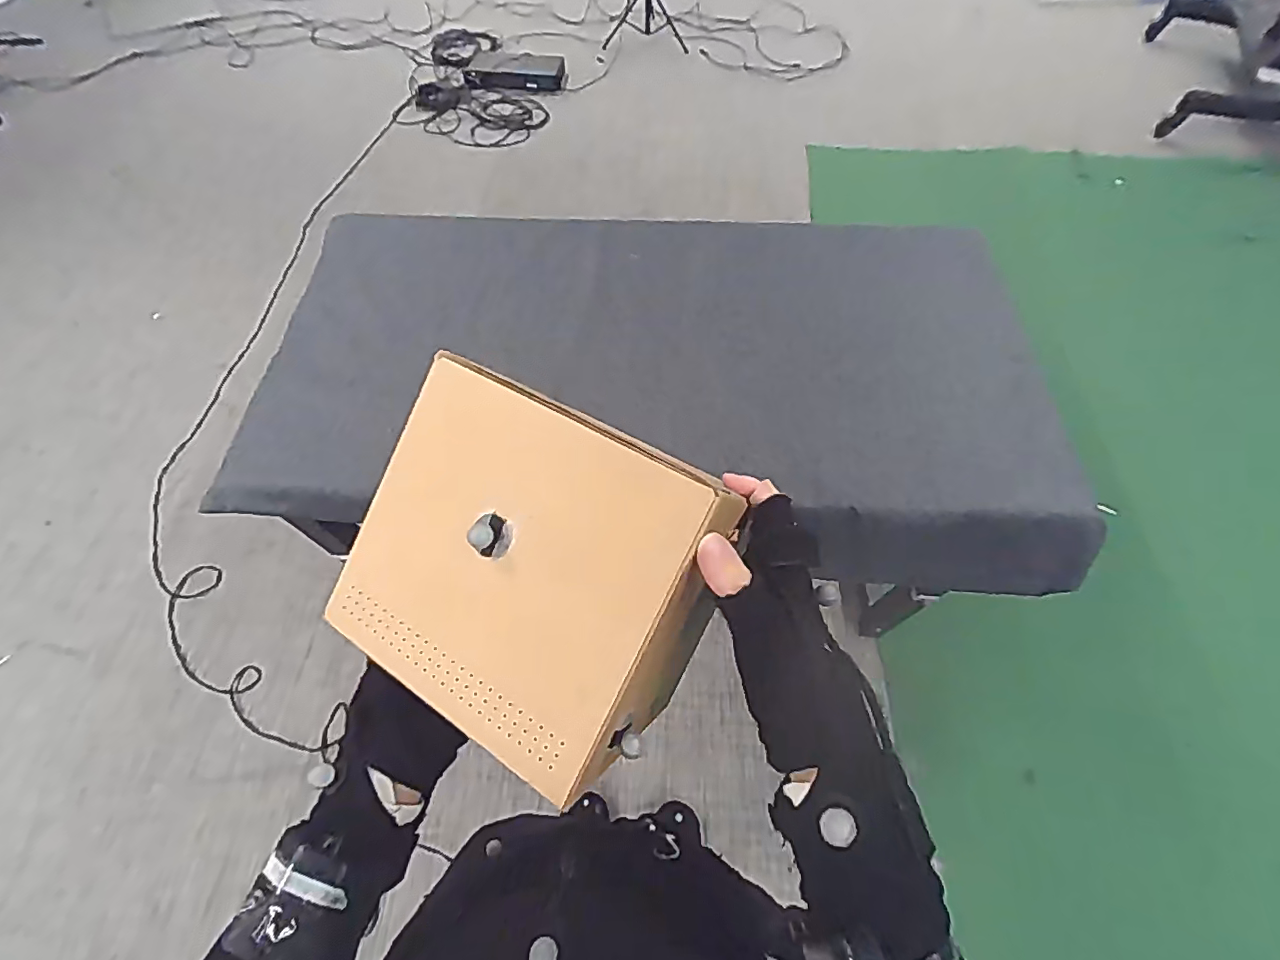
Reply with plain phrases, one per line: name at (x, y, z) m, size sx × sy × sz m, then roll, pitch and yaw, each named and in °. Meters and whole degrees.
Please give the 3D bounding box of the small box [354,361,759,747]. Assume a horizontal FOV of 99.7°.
small box at (-0.045, 0.047, 0.362) m, size 0.179 × 0.168 × 0.176 m, roll 26°, pitch 95°, yaw 20°
